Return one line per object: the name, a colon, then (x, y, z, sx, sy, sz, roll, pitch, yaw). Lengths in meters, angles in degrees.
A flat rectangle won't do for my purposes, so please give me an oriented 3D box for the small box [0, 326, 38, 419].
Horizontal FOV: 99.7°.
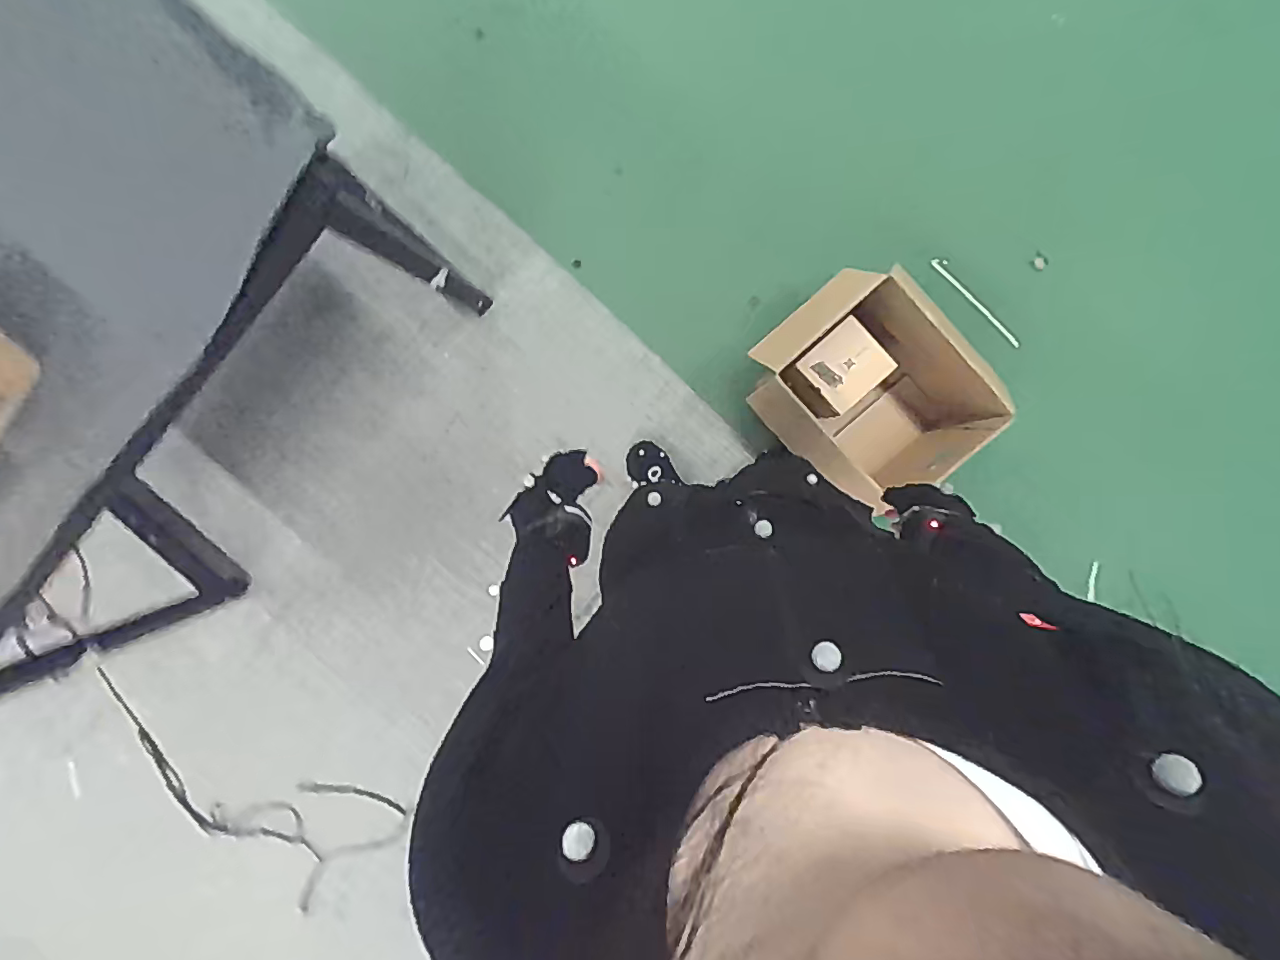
small box: (-1.005, -0.166, 0.726, 0.179, 0.176, 0.168, 42, 96, -2)
